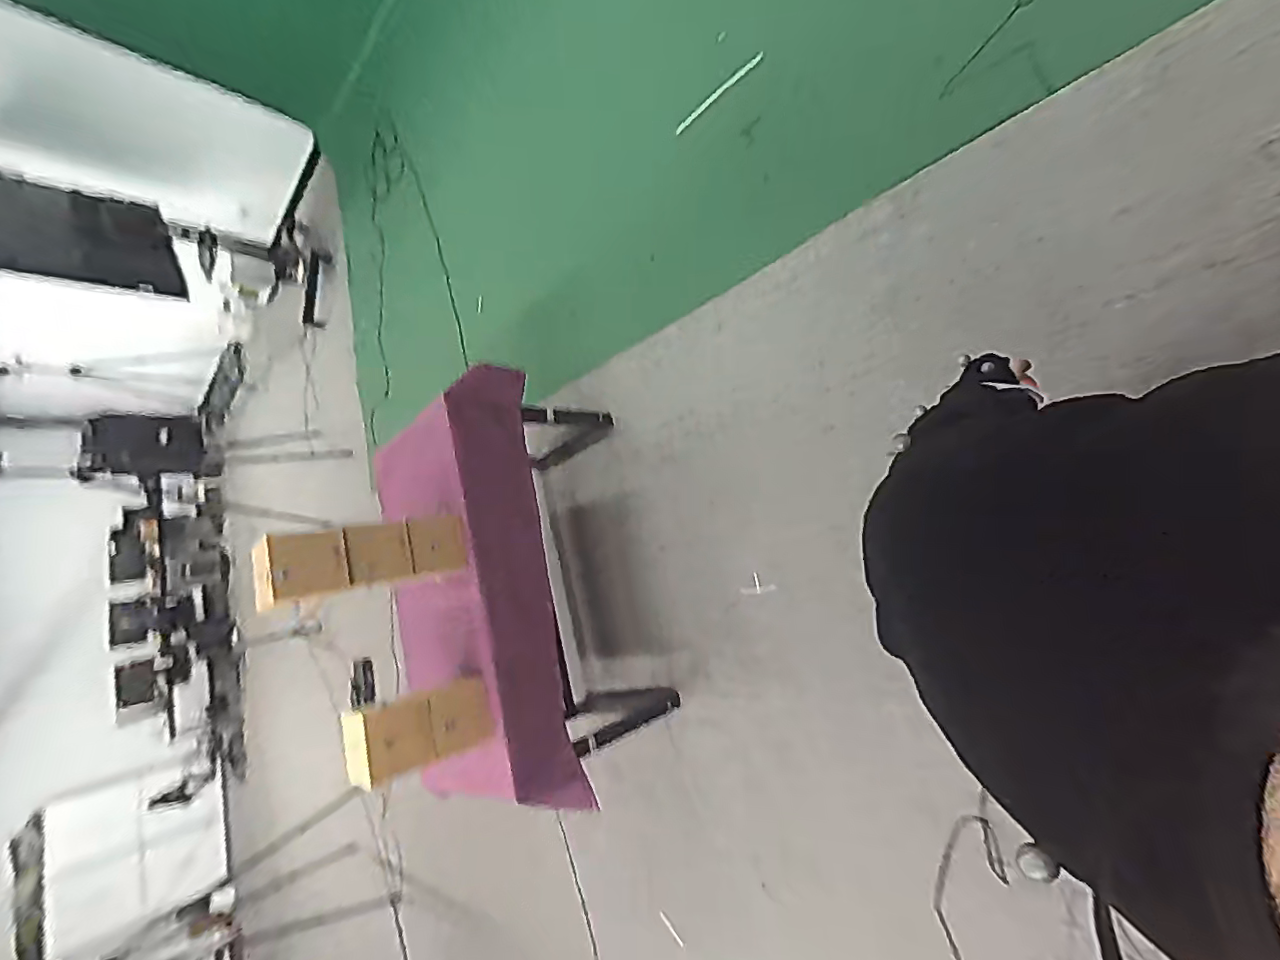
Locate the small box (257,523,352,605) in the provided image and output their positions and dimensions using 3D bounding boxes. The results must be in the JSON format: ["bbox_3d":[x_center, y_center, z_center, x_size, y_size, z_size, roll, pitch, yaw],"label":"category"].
[{"bbox_3d":[-0.849,0.212,1.368,0.179,0.176,0.168,-24,76,43],"label":"small box"}]

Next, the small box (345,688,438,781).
[{"bbox_3d":[-0.653,0.660,1.426,0.168,0.176,0.179,-20,79,42],"label":"small box"}]

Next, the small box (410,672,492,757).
[{"bbox_3d":[-0.539,0.661,1.542,0.168,0.176,0.179,-19,78,42],"label":"small box"}]

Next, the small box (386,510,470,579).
[{"bbox_3d":[-0.633,0.189,1.617,0.168,0.176,0.179,-20,79,43],"label":"small box"}]
